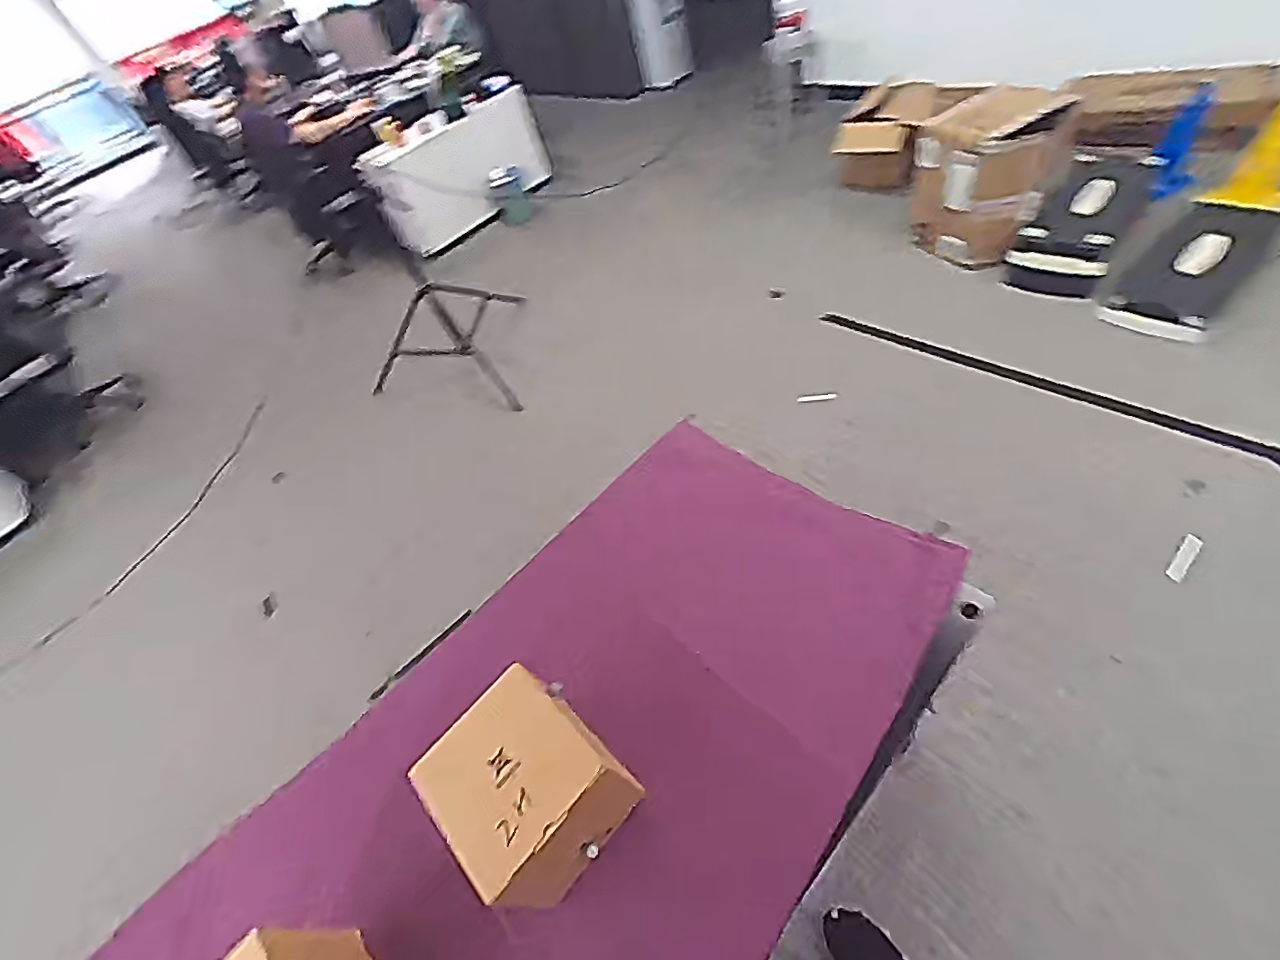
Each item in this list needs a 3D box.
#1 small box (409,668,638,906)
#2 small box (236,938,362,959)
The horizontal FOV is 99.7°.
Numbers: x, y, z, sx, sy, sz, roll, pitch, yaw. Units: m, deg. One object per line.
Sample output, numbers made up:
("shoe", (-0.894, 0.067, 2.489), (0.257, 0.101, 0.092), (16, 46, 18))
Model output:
("small box", (-0.130, 0.368, 0.647), (0.179, 0.176, 0.168), (31, 68, 35))
("small box", (-0.366, 0.606, 0.534), (0.179, 0.176, 0.168), (31, 66, 34))
